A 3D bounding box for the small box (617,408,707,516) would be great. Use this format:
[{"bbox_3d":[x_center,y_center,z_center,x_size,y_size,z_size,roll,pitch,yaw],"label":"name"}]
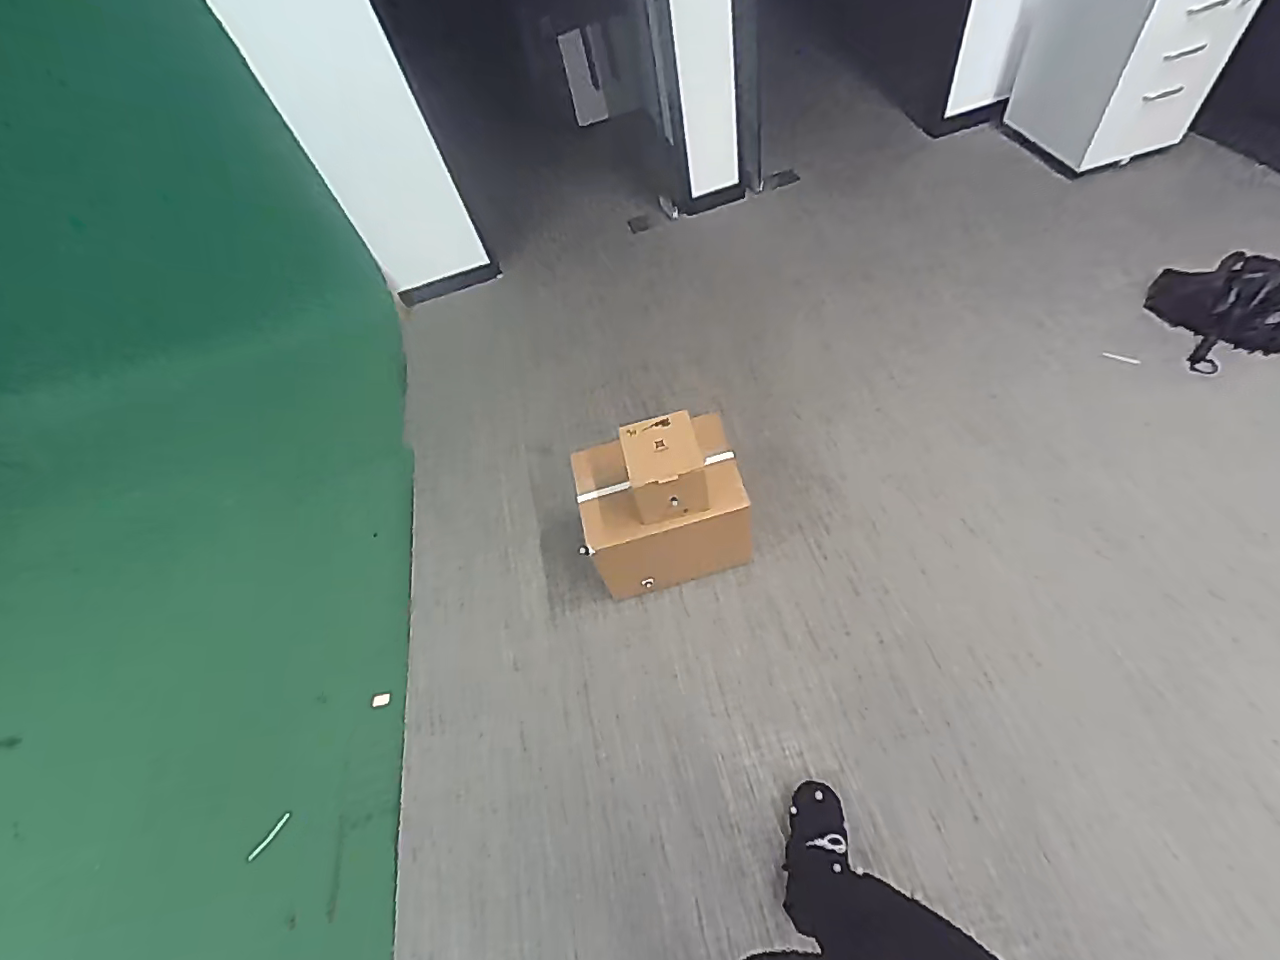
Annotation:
[{"bbox_3d":[0.055,-0.033,1.259,0.168,0.176,0.179,-14,56,3],"label":"small box"}]
